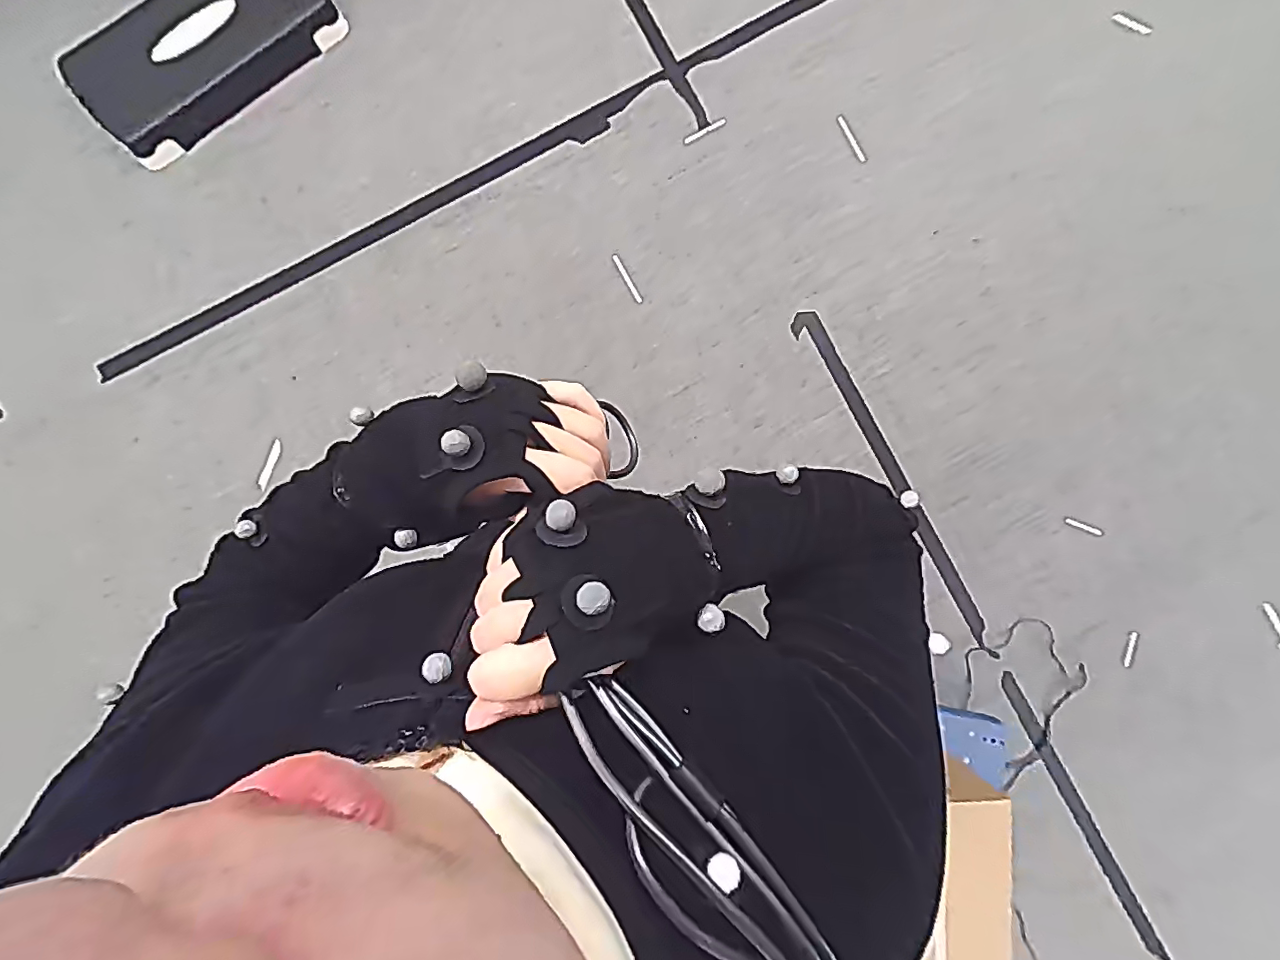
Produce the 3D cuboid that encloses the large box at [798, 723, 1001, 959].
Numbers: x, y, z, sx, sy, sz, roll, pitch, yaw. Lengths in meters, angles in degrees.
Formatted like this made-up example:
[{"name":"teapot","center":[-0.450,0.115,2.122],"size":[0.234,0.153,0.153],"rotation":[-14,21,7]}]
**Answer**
[{"name":"large box","center":[0.560,0.815,1.220],"size":[0.320,0.320,0.408],"rotation":[1,90,-4]}]
